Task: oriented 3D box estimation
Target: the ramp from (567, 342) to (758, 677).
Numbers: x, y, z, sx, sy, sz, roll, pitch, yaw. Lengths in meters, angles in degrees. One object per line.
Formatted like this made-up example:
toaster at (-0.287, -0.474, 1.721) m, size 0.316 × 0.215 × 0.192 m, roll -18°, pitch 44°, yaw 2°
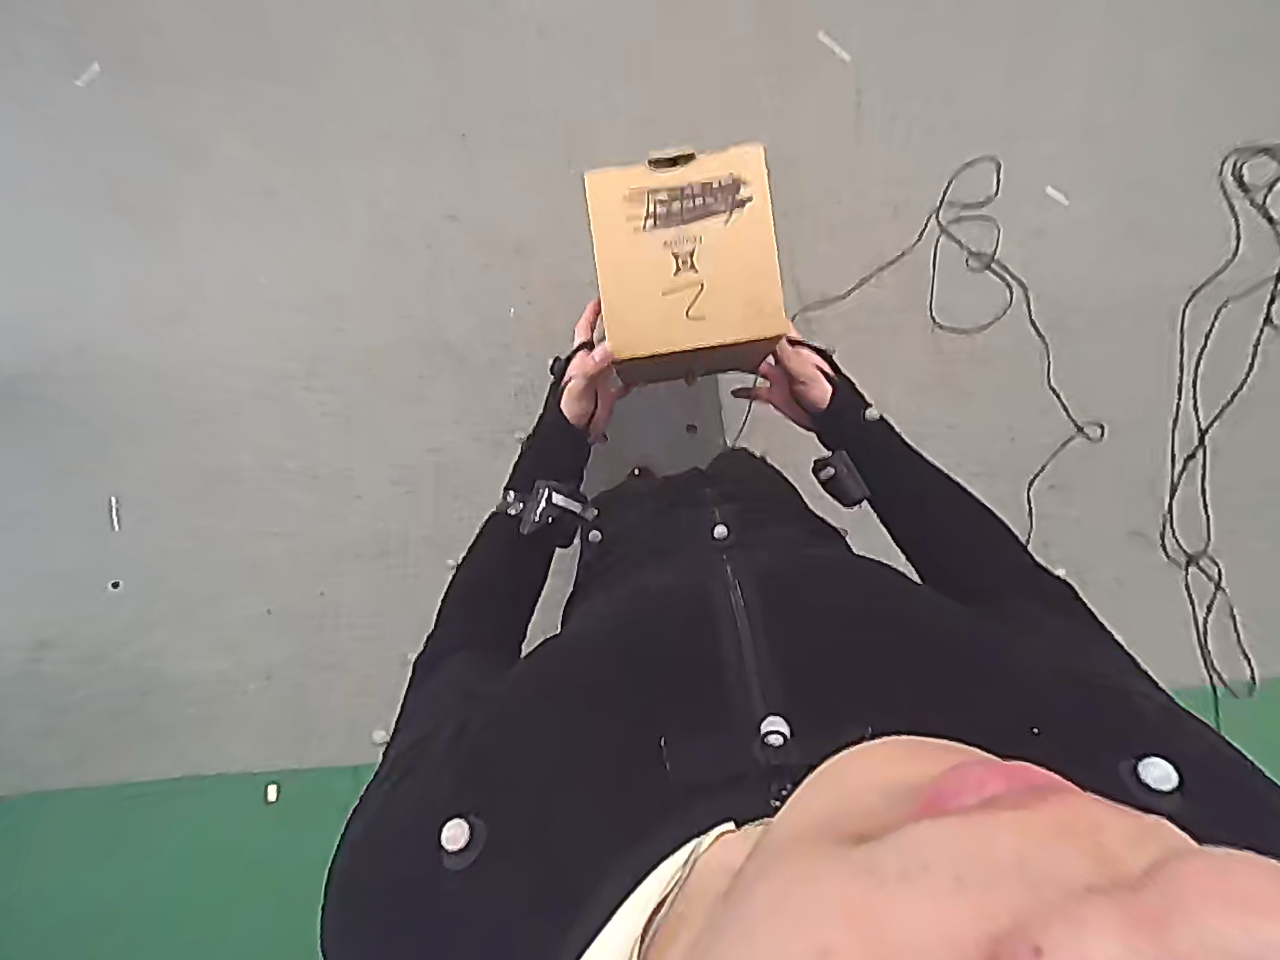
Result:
ramp at (0.051, 0.065, 1.664) m, size 0.509 × 0.206 × 0.991 m, roll -8°, pitch 90°, yaw 0°
